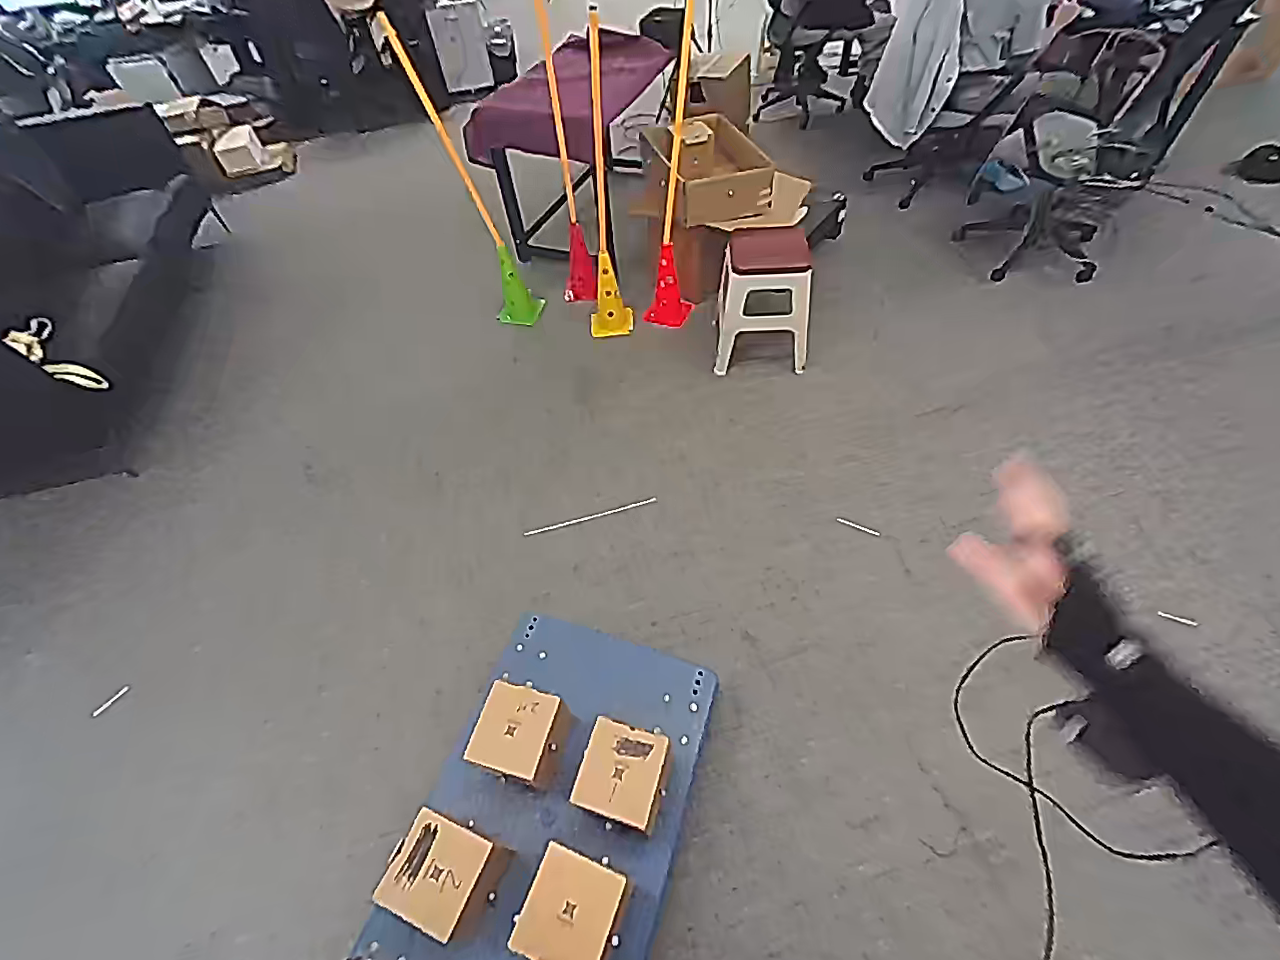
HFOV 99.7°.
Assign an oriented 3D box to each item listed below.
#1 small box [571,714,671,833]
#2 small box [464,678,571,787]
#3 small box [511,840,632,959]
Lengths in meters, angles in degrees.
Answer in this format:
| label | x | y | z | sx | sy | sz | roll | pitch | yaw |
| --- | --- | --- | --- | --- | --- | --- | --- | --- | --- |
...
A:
| label | x | y | z | sx | sy | sz | roll | pitch | yaw |
| --- | --- | --- | --- | --- | --- | --- | --- | --- | --- |
| small box | -0.032 | 0.643 | 1.182 | 0.168 | 0.176 | 0.179 | 12 | 56 | 15 |
| small box | -0.271 | 0.587 | 1.248 | 0.168 | 0.176 | 0.179 | 10 | 55 | 13 |
| small box | -0.122 | 0.833 | 1.049 | 0.168 | 0.176 | 0.179 | 15 | 57 | 16 |
